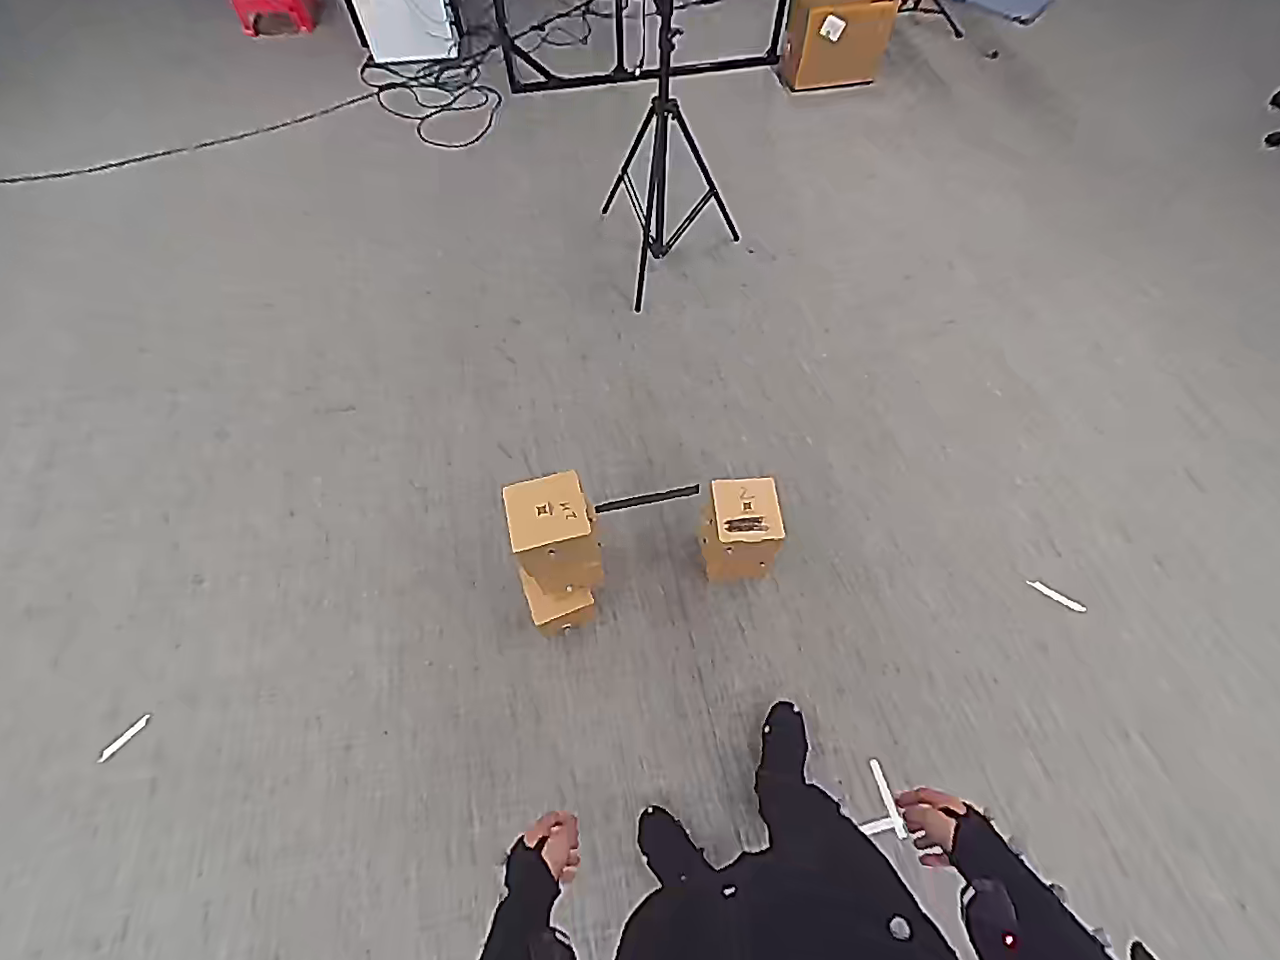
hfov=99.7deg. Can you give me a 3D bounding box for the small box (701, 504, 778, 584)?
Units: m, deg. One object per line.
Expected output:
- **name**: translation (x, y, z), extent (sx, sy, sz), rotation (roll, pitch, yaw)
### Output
- **small box**: translation (0.280, 0.191, 1.571), extent (0.179, 0.176, 0.168), rotation (-9, 62, -5)

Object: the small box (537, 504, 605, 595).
- **small box**: translation (-0.183, 0.183, 1.397), extent (0.168, 0.176, 0.179), rotation (-7, 62, -2)

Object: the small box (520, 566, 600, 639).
- **small box**: translation (-0.220, 0.320, 1.509), extent (0.168, 0.176, 0.179), rotation (-20, 64, -9)

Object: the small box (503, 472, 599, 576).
- **small box**: translation (-0.202, 0.108, 1.251), extent (0.179, 0.176, 0.168), rotation (-14, 62, -5)
